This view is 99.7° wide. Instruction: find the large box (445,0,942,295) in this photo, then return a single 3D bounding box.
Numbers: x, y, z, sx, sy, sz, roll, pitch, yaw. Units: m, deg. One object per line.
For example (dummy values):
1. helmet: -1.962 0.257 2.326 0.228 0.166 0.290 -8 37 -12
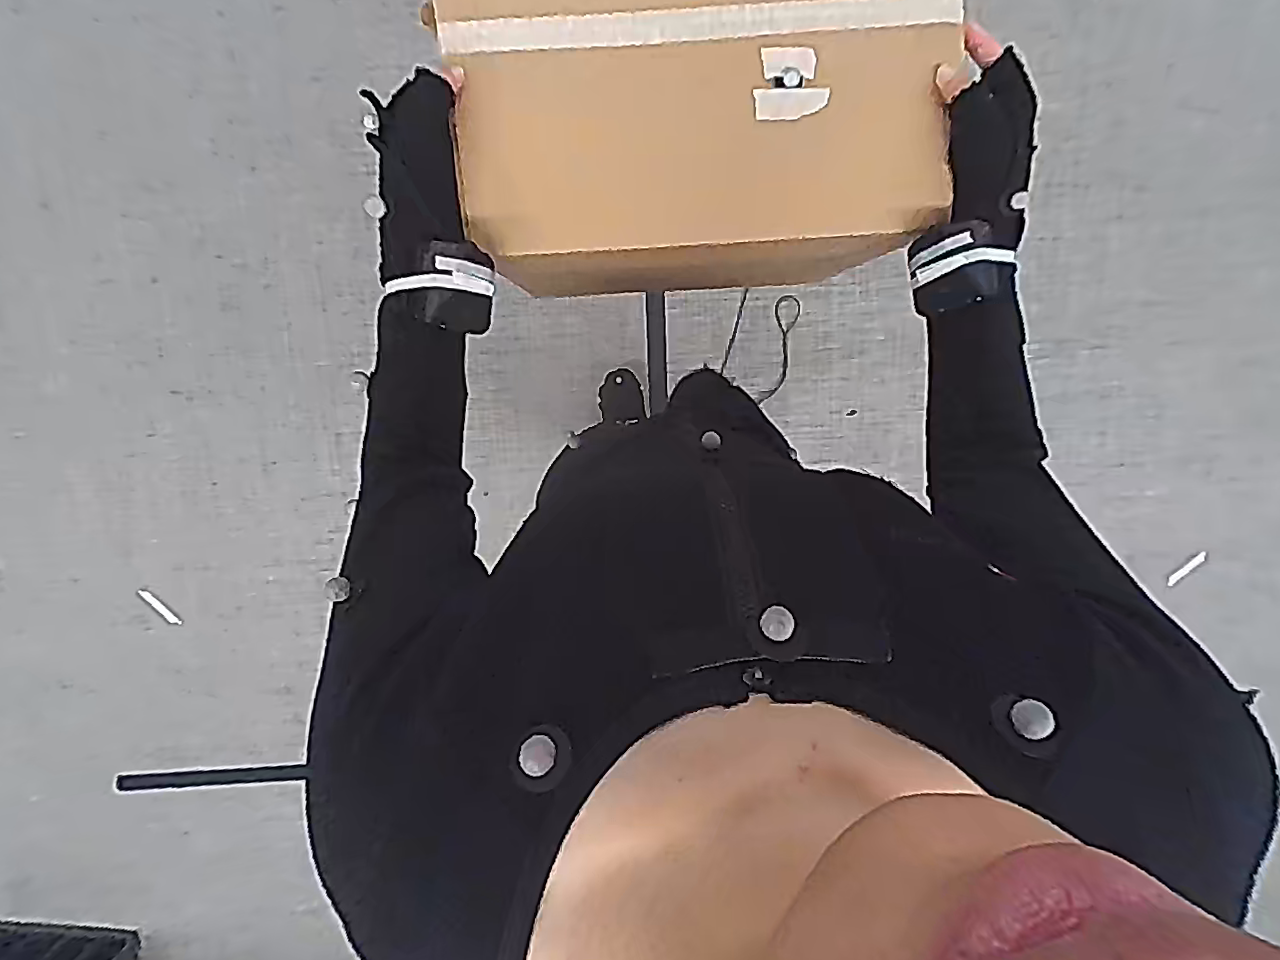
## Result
1. large box: 0.040 -0.391 0.580 0.408 0.320 0.320 -4 103 -1
